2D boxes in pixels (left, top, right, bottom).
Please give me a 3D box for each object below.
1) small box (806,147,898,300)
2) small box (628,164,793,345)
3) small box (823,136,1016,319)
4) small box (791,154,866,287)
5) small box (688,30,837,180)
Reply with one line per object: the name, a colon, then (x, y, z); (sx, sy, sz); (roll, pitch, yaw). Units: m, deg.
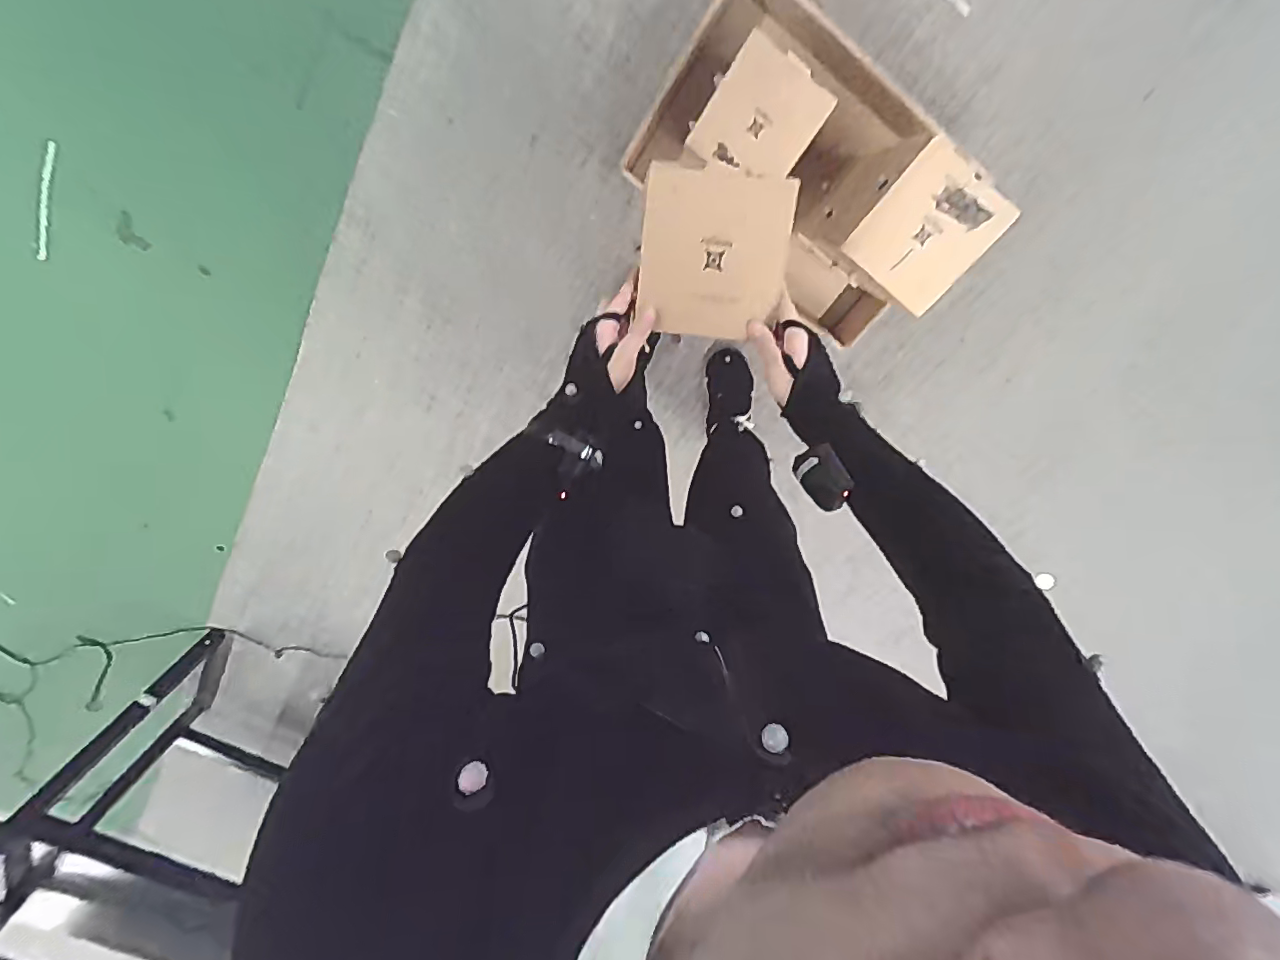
small box: (0.419, -0.456, 0.969); (0.168, 0.176, 0.179); (35, 115, -12)
small box: (0.074, -0.269, 0.678); (0.168, 0.176, 0.179); (4, 107, -4)
small box: (0.406, -0.381, 0.823); (0.168, 0.176, 0.179); (35, 117, -12)
small box: (0.432, -0.531, 1.115); (0.168, 0.176, 0.179); (35, 116, -12)
small box: (0.193, -0.593, 0.912); (0.168, 0.176, 0.179); (33, 116, -12)
